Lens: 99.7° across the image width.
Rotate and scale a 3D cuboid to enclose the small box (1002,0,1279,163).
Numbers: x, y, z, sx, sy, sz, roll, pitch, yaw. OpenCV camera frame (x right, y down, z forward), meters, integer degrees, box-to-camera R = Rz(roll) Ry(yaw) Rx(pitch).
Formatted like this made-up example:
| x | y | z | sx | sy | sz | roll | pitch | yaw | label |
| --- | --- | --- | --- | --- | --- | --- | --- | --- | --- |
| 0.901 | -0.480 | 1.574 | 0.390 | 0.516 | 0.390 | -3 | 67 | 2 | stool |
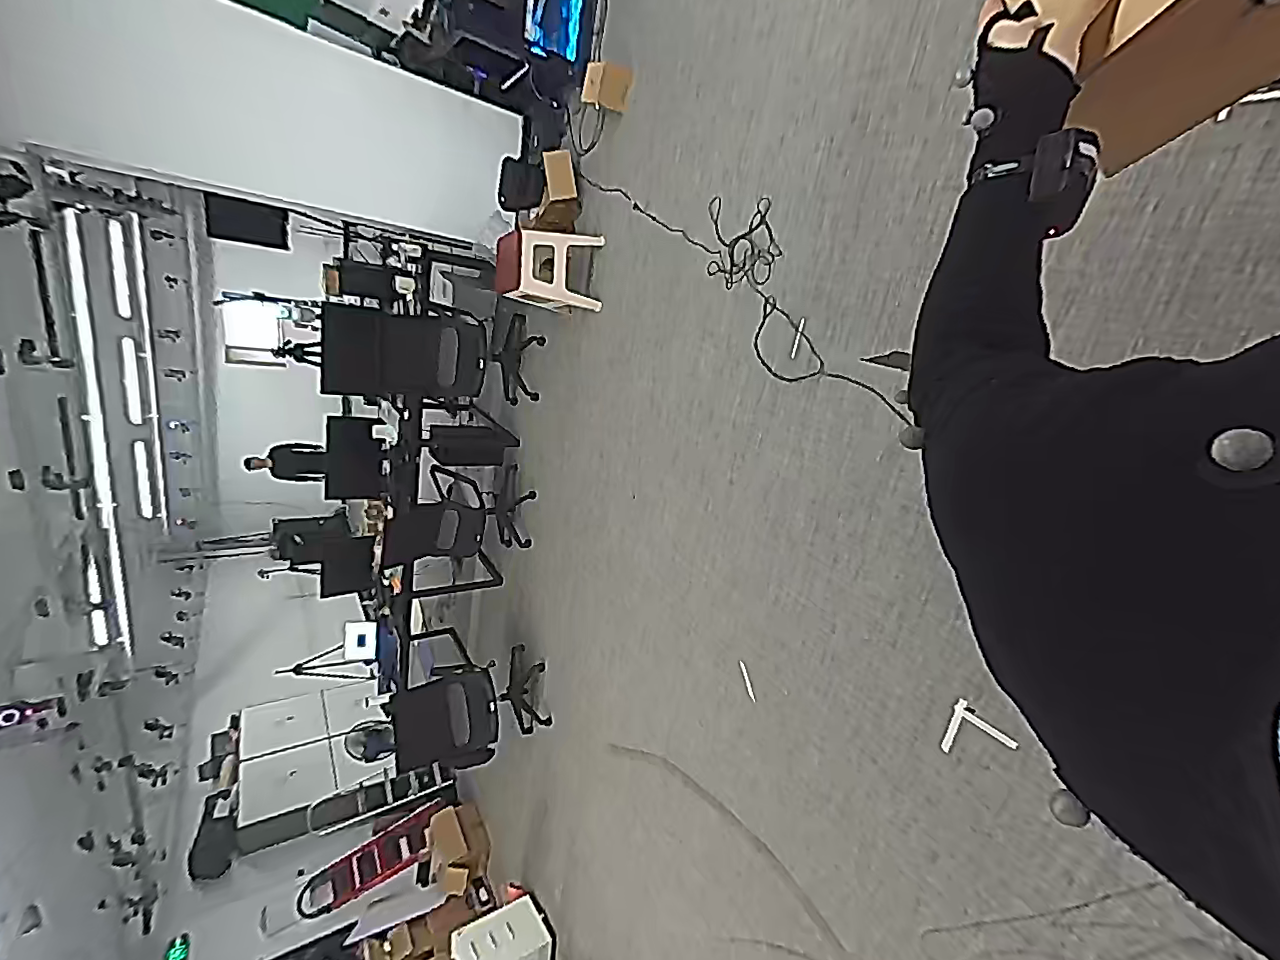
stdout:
| x | y | z | sx | sy | sz | roll | pitch | yaw | label |
| --- | --- | --- | --- | --- | --- | --- | --- | --- | --- |
| 0.445 | -0.420 | 0.457 | 0.179 | 0.176 | 0.168 | -28 | 64 | 51 | small box |
